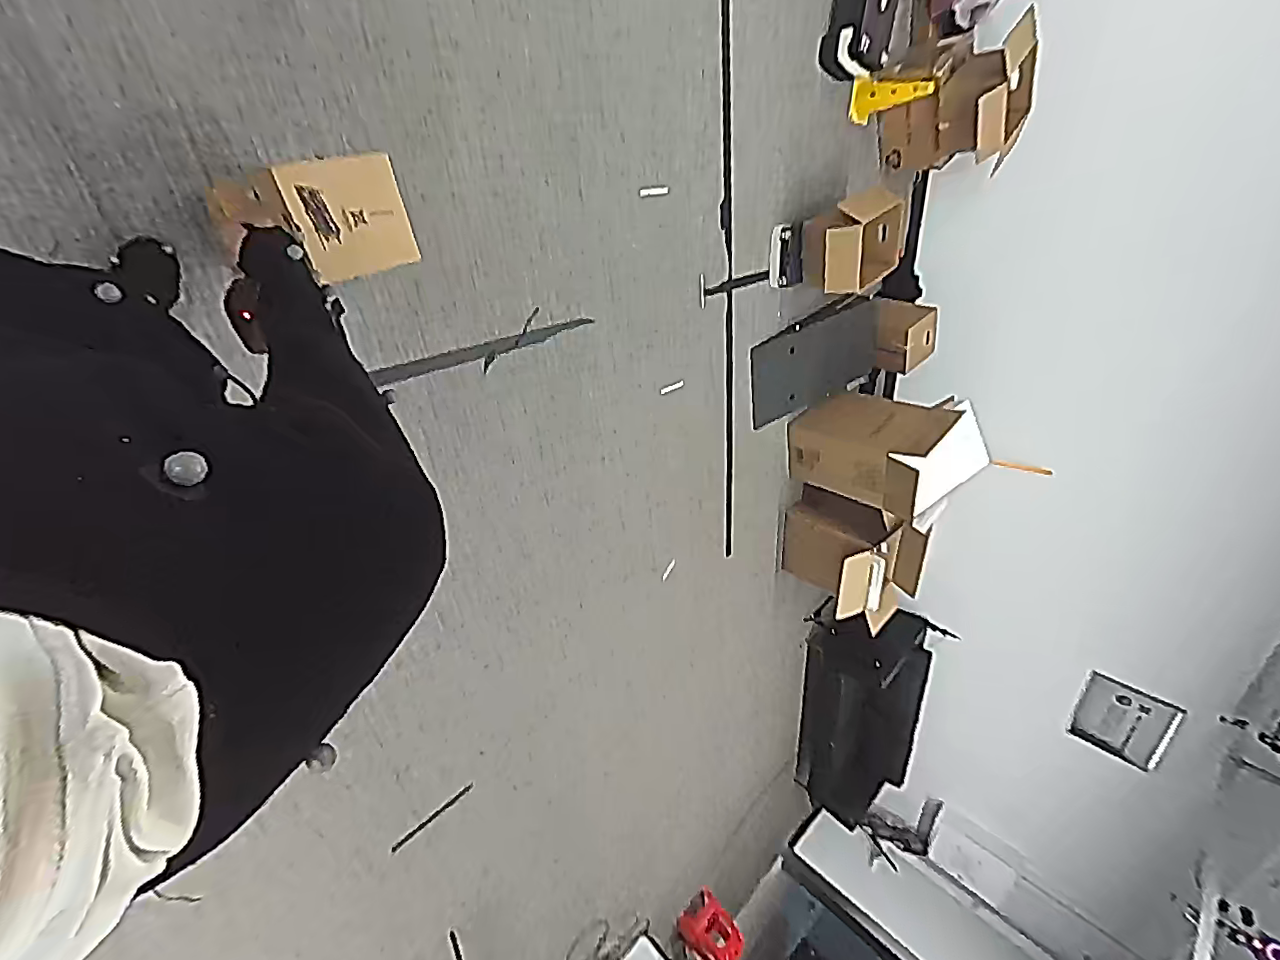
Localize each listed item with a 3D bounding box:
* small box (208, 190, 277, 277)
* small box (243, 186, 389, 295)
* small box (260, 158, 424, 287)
[{"bbox_3d":[-0.838,-0.570,1.233,0.179,0.176,0.168,-30,127,-33],"label":"small box"},{"bbox_3d":[-0.610,-0.466,1.023,0.168,0.176,0.179,-32,128,-33],"label":"small box"},{"bbox_3d":[-0.501,-0.429,0.904,0.179,0.176,0.168,-32,129,-33],"label":"small box"}]
